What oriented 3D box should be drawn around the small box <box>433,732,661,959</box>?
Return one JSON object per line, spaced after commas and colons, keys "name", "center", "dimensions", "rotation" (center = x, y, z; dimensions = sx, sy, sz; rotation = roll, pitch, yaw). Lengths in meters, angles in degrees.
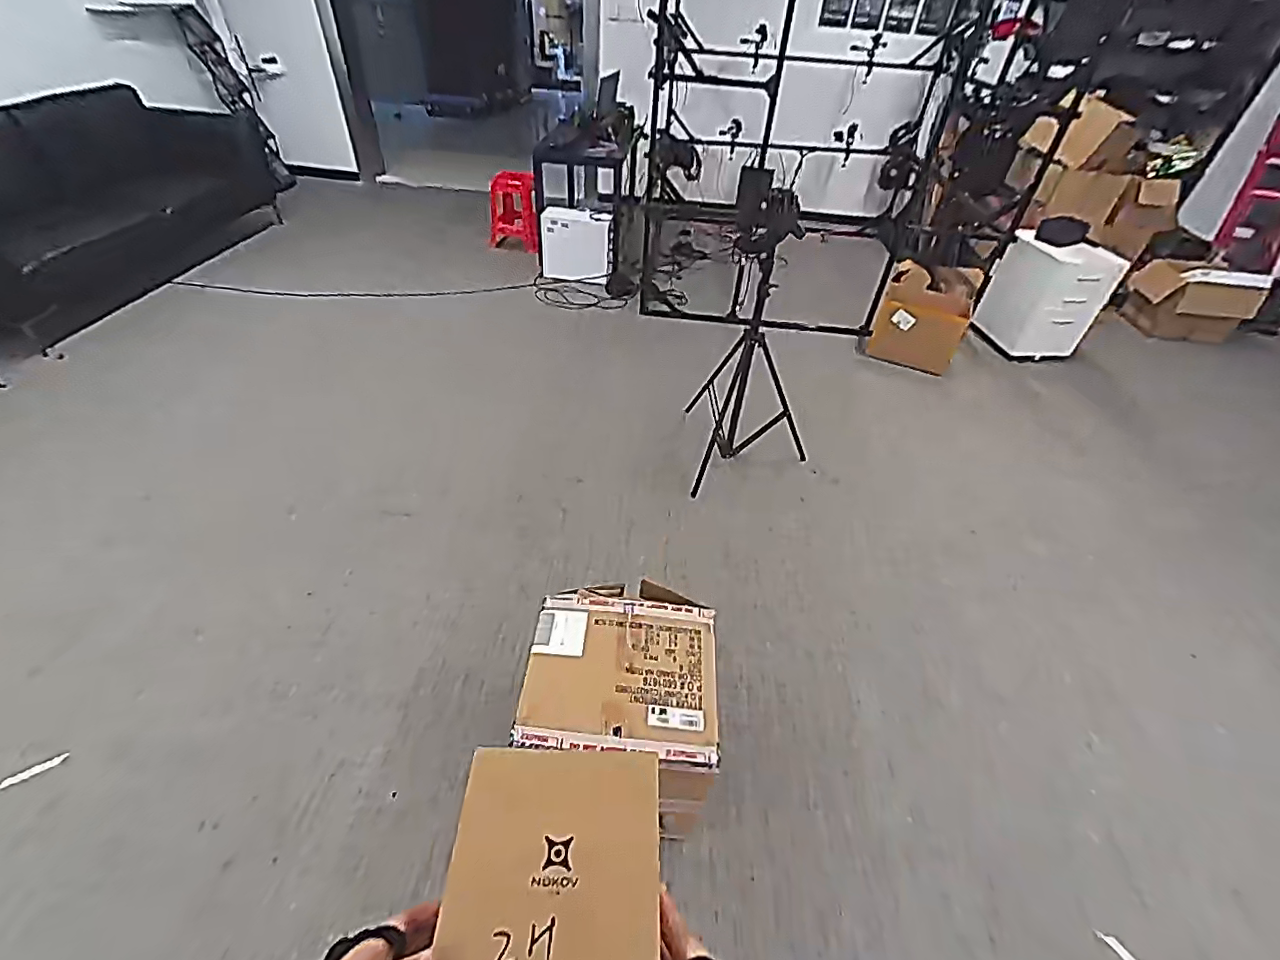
{"name": "small box", "center": [-0.070, 0.354, 0.495], "dimensions": [0.168, 0.176, 0.179], "rotation": [3, 46, -1]}
